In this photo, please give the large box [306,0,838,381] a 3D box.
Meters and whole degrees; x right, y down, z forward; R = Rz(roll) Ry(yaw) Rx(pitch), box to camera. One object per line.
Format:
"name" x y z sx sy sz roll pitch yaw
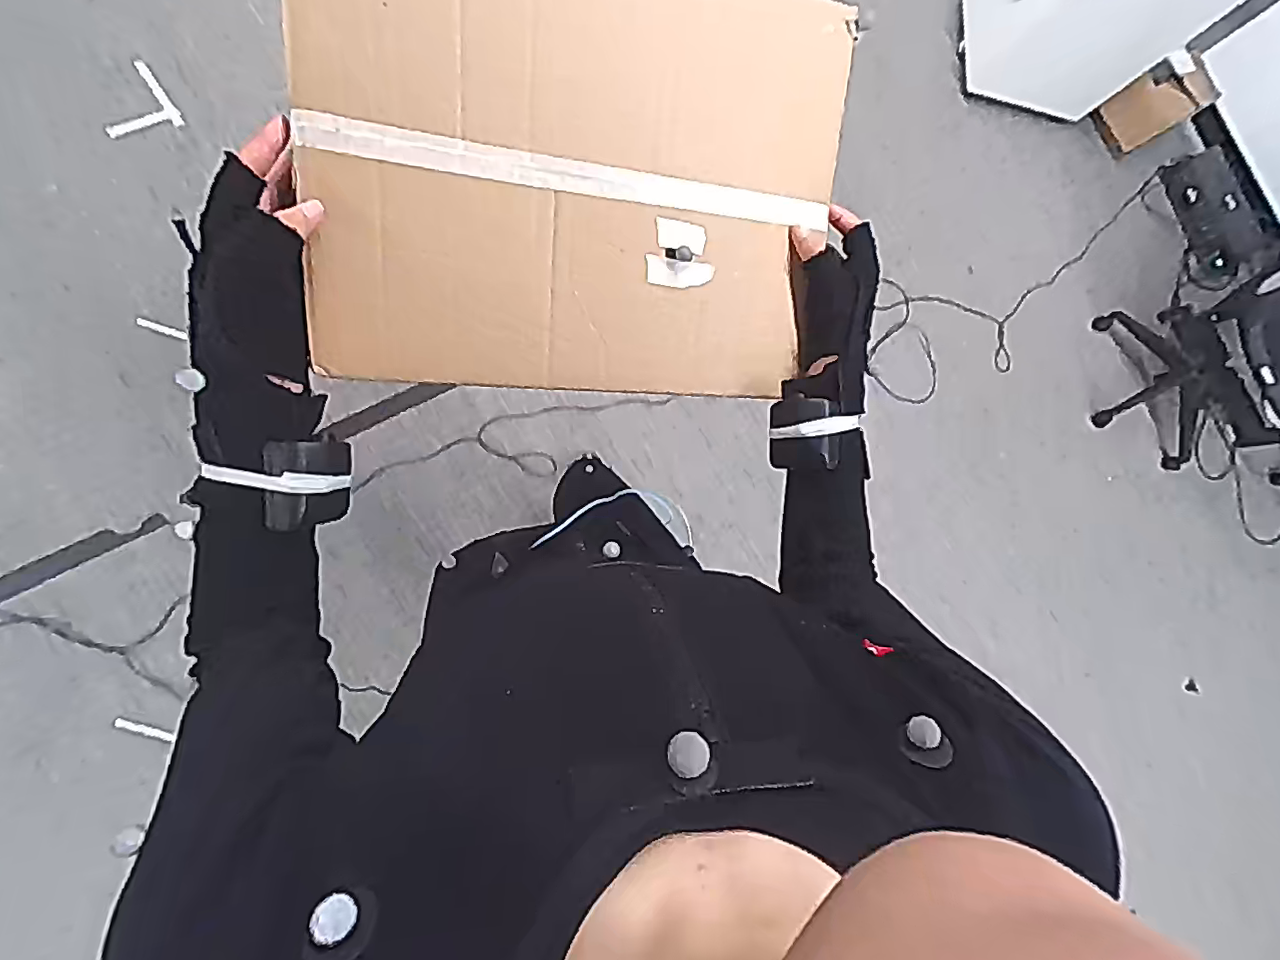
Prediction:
"large box" -0.080 -0.280 0.561 0.408 0.320 0.320 -1 107 -20
